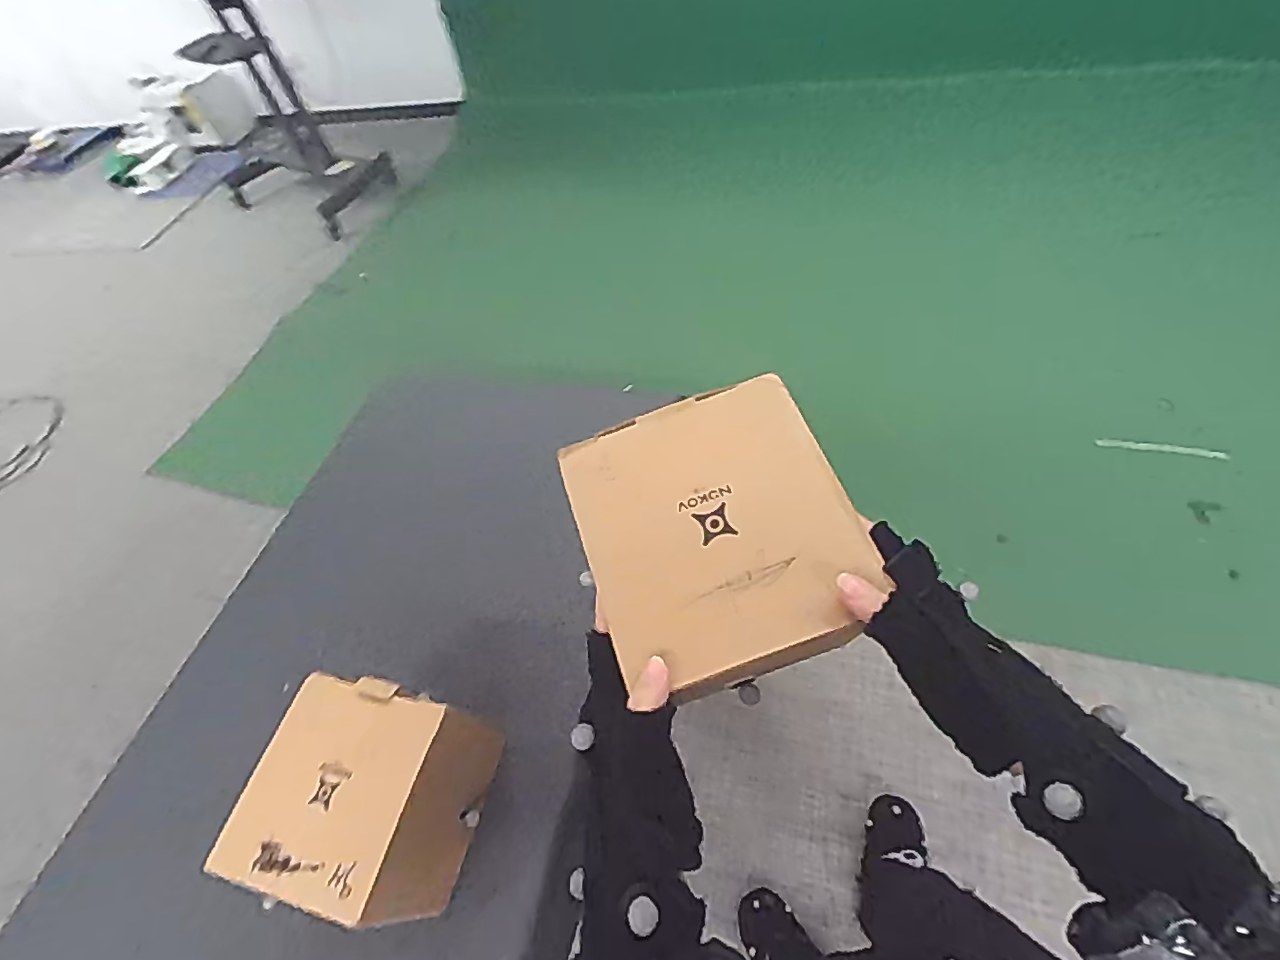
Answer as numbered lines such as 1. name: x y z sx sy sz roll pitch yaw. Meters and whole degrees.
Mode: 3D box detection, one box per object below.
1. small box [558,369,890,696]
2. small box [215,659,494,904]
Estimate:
1. small box: 0.053 0.052 0.414 0.168 0.176 0.179 -19 66 1
2. small box: -0.278 0.317 0.578 0.168 0.176 0.179 7 58 16
